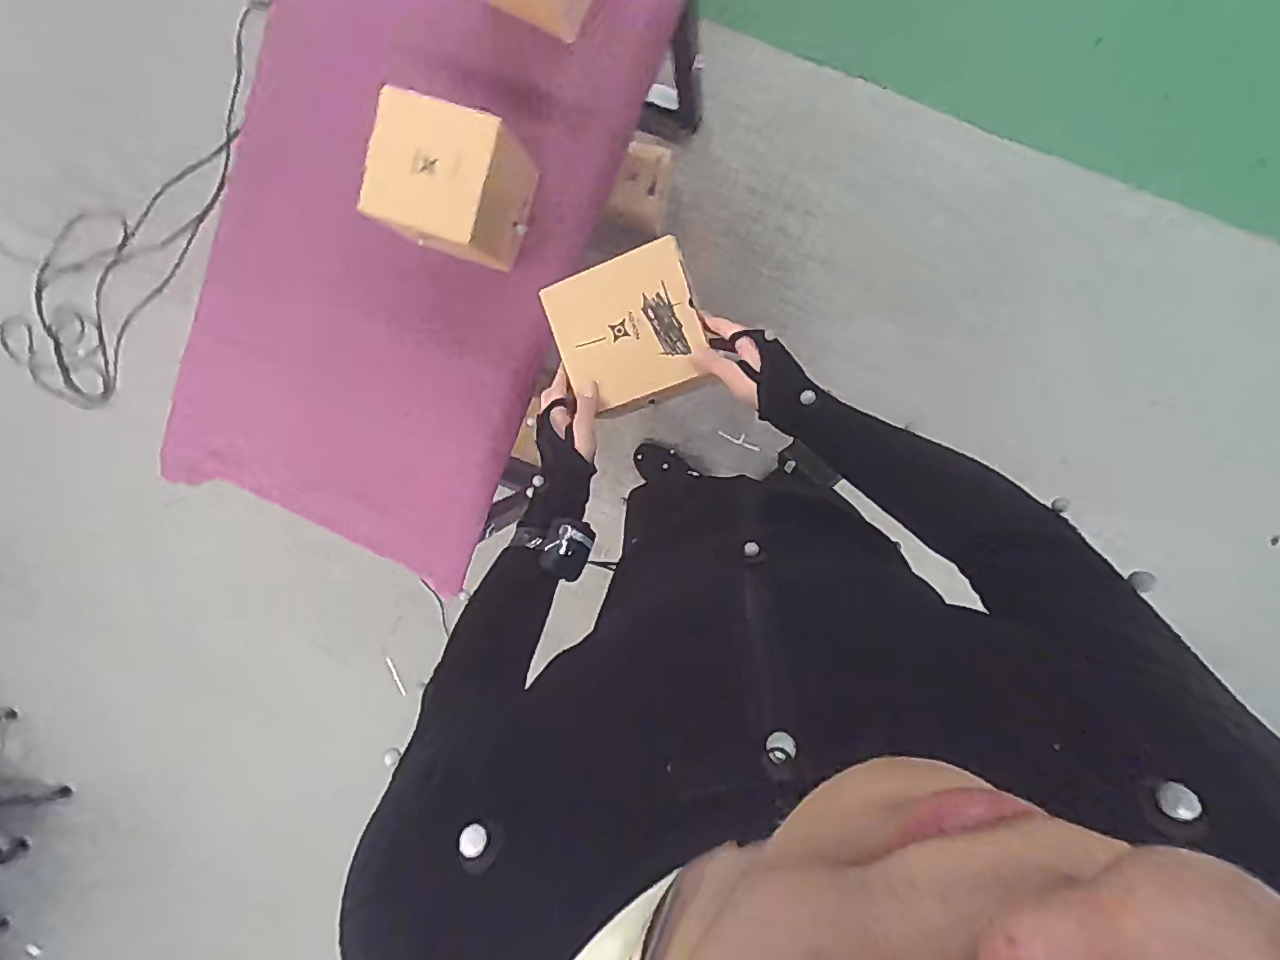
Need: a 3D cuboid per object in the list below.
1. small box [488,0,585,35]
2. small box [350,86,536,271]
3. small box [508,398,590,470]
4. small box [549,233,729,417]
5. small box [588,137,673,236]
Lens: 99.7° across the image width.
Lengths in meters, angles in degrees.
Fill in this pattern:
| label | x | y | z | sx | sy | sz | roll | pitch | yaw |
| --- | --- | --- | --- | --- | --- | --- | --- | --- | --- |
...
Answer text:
| label | x | y | z | sx | sy | sz | roll | pitch | yaw |
| --- | --- | --- | --- | --- | --- | --- | --- | --- | --- |
| small box | -0.153 | -0.765 | 0.736 | 0.179 | 0.176 | 0.168 | 30 | 101 | 4 |
| small box | -0.279 | -0.426 | 0.795 | 0.179 | 0.176 | 0.168 | 20 | 100 | 5 |
| small box | -0.256 | -0.139 | 1.566 | 0.179 | 0.176 | 0.168 | 15 | 99 | 6 |
| small box | 0.009 | -0.186 | 0.700 | 0.179 | 0.176 | 0.168 | -17 | 93 | 12 |
| small box | -0.020 | -0.779 | 1.453 | 0.179 | 0.176 | 0.168 | 17 | 99 | 5 |
